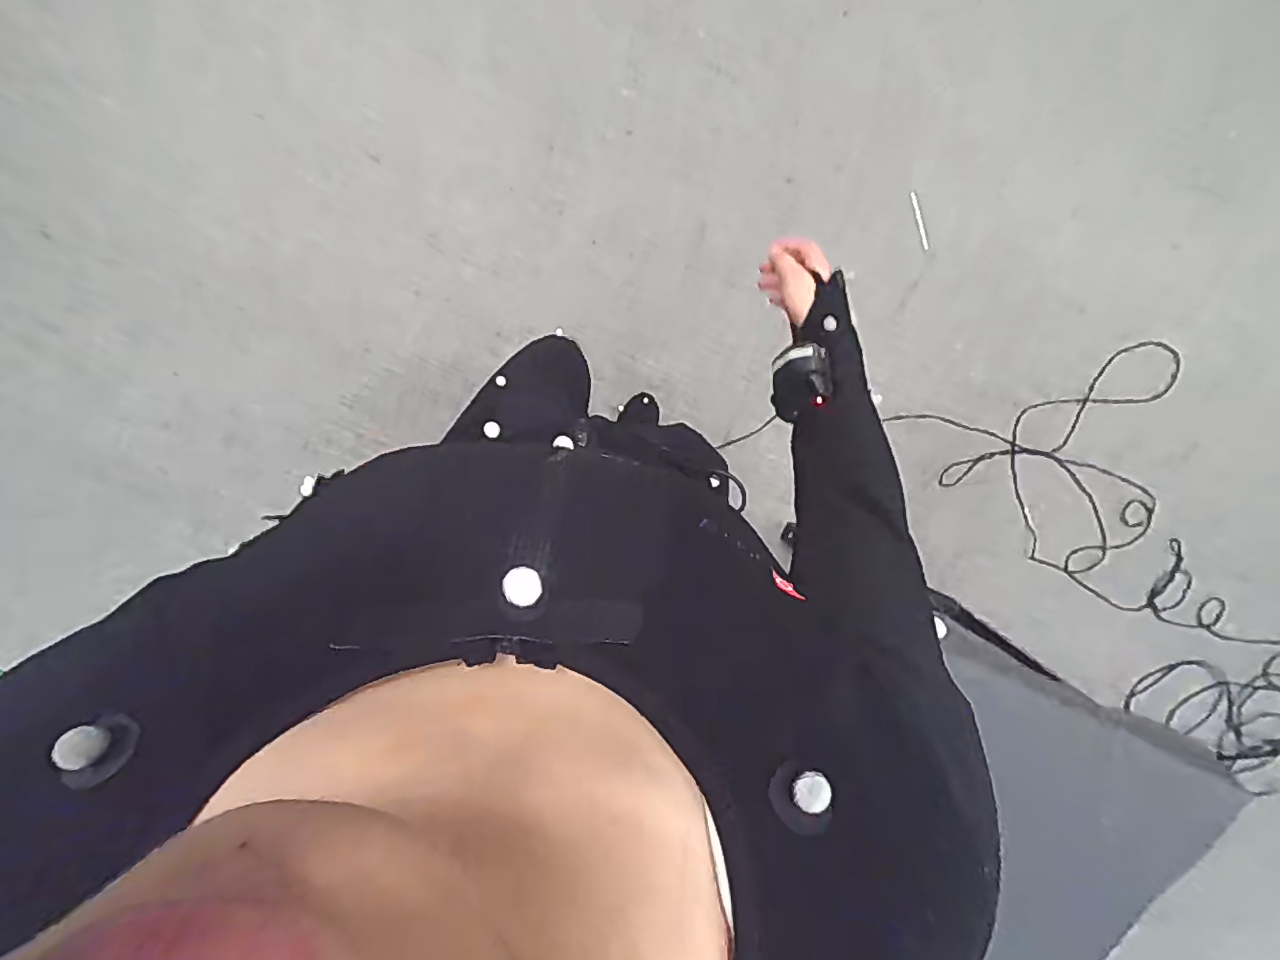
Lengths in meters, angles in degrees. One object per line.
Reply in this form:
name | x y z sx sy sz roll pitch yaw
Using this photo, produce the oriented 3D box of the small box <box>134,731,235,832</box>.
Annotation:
small box | -1.276 0.842 1.494 0.168 0.176 0.179 33 97 -9
